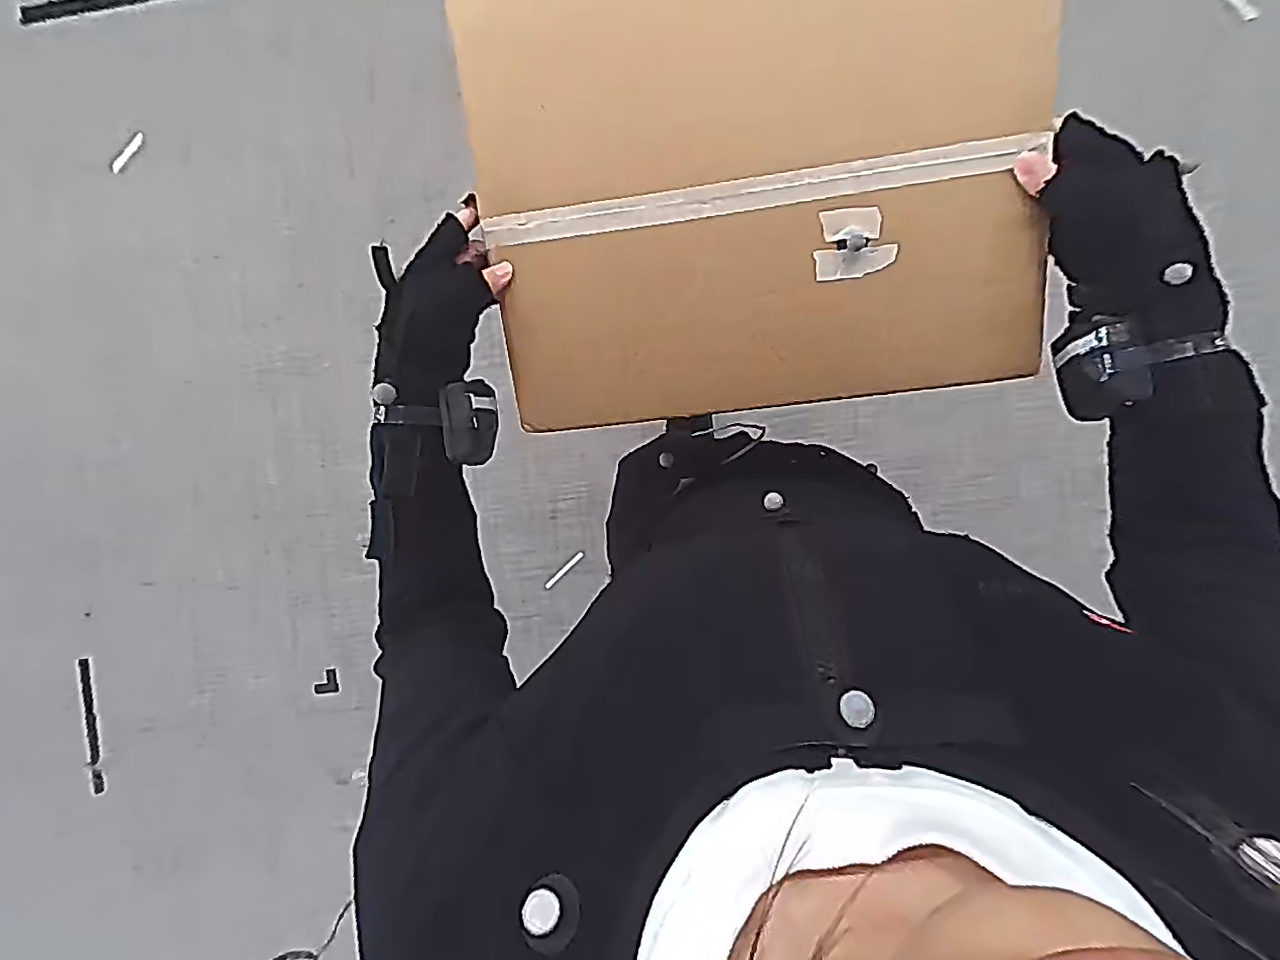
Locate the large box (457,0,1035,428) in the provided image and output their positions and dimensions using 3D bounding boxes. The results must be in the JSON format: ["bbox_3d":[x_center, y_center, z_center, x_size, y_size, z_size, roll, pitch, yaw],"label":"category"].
[{"bbox_3d":[0.090,-0.252,0.549,0.408,0.320,0.320,-7,105,4],"label":"large box"}]
